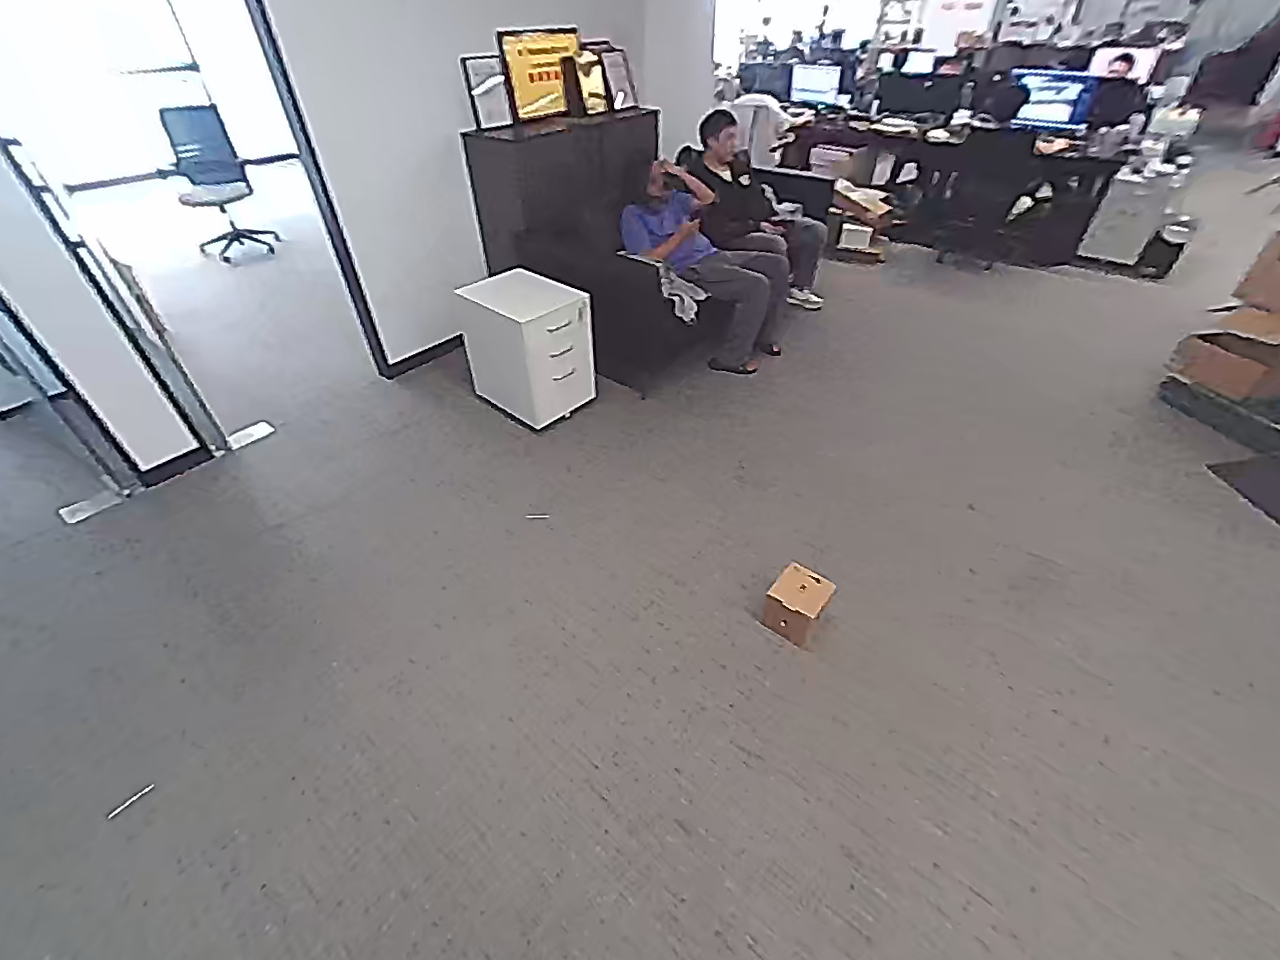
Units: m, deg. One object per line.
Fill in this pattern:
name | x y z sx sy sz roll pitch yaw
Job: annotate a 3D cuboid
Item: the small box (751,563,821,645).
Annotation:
small box | 0.491 0.423 1.834 0.168 0.176 0.179 26 46 28
